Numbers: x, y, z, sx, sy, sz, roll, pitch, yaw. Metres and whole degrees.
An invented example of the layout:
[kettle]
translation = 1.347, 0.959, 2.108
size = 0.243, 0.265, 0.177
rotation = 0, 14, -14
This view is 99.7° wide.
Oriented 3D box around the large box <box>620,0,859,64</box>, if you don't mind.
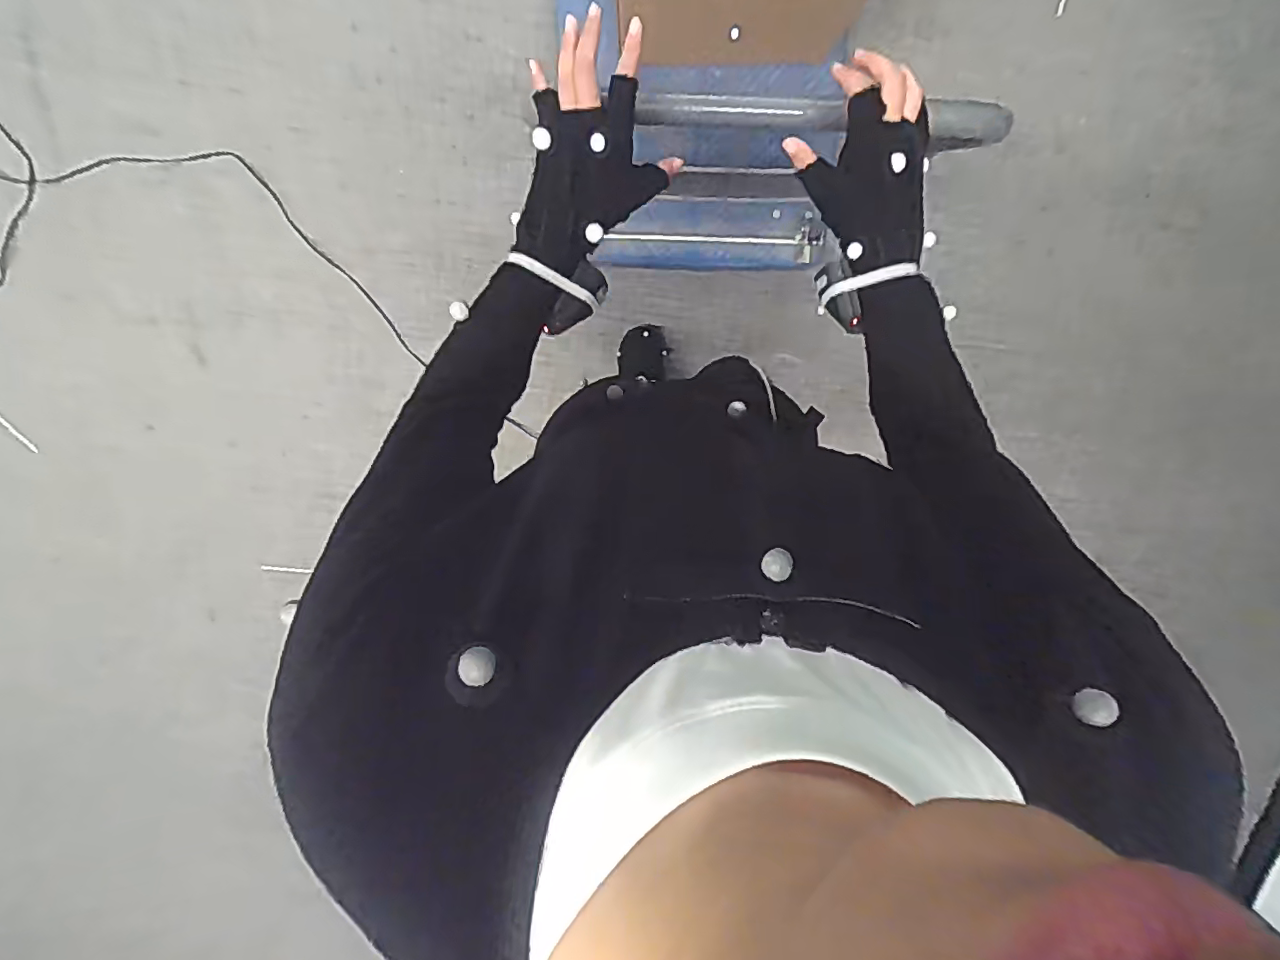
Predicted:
[large box]
translation = 0.165, -0.948, 0.905
size = 0.408, 0.320, 0.320
rotation = -1, 104, 0
